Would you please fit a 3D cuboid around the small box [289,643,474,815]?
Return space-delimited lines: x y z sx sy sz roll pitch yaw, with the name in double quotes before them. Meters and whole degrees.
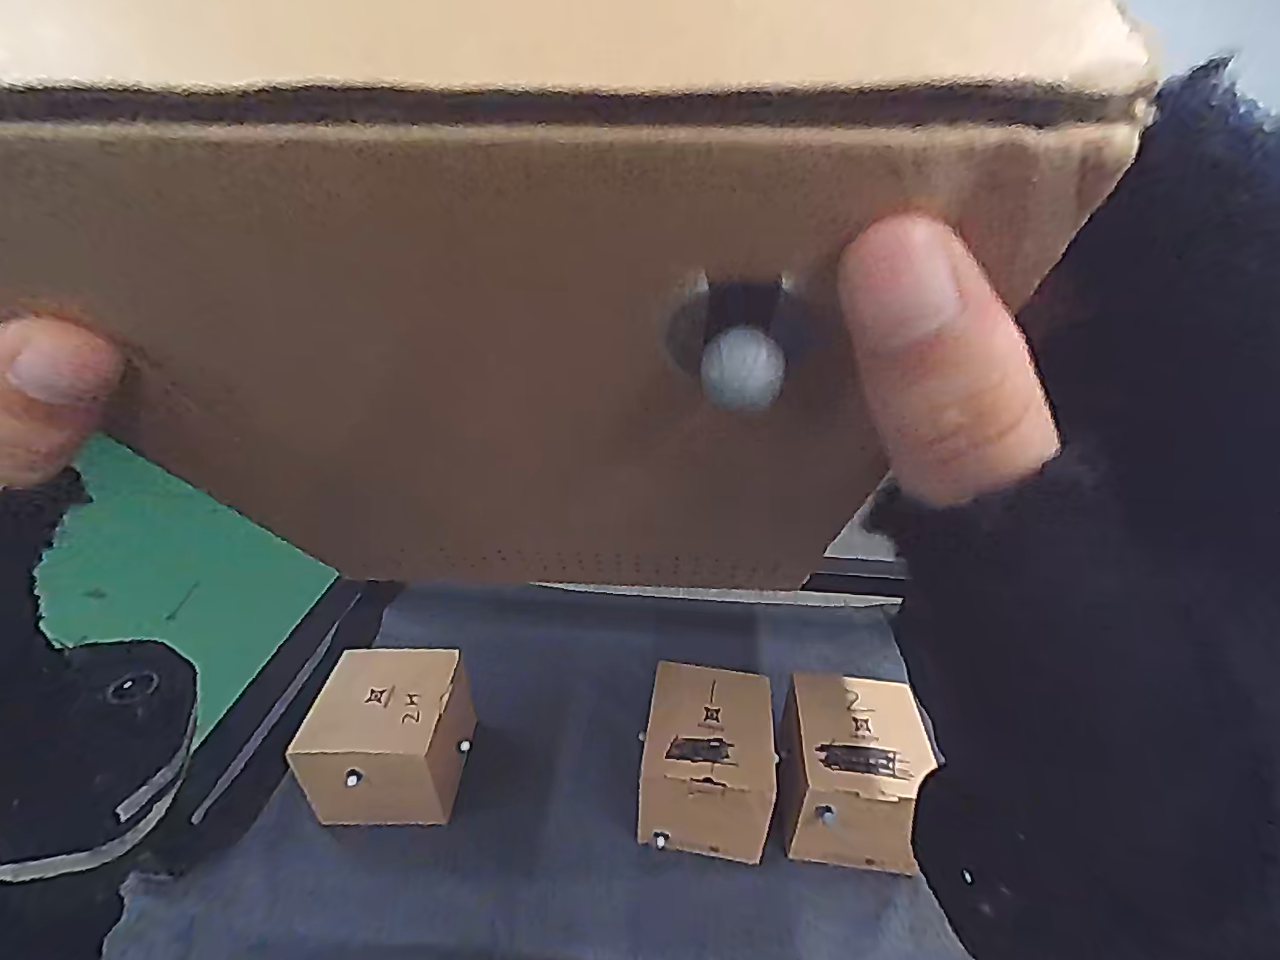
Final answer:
"small box" -0.355 0.359 0.783 0.179 0.176 0.168 2 32 -1
